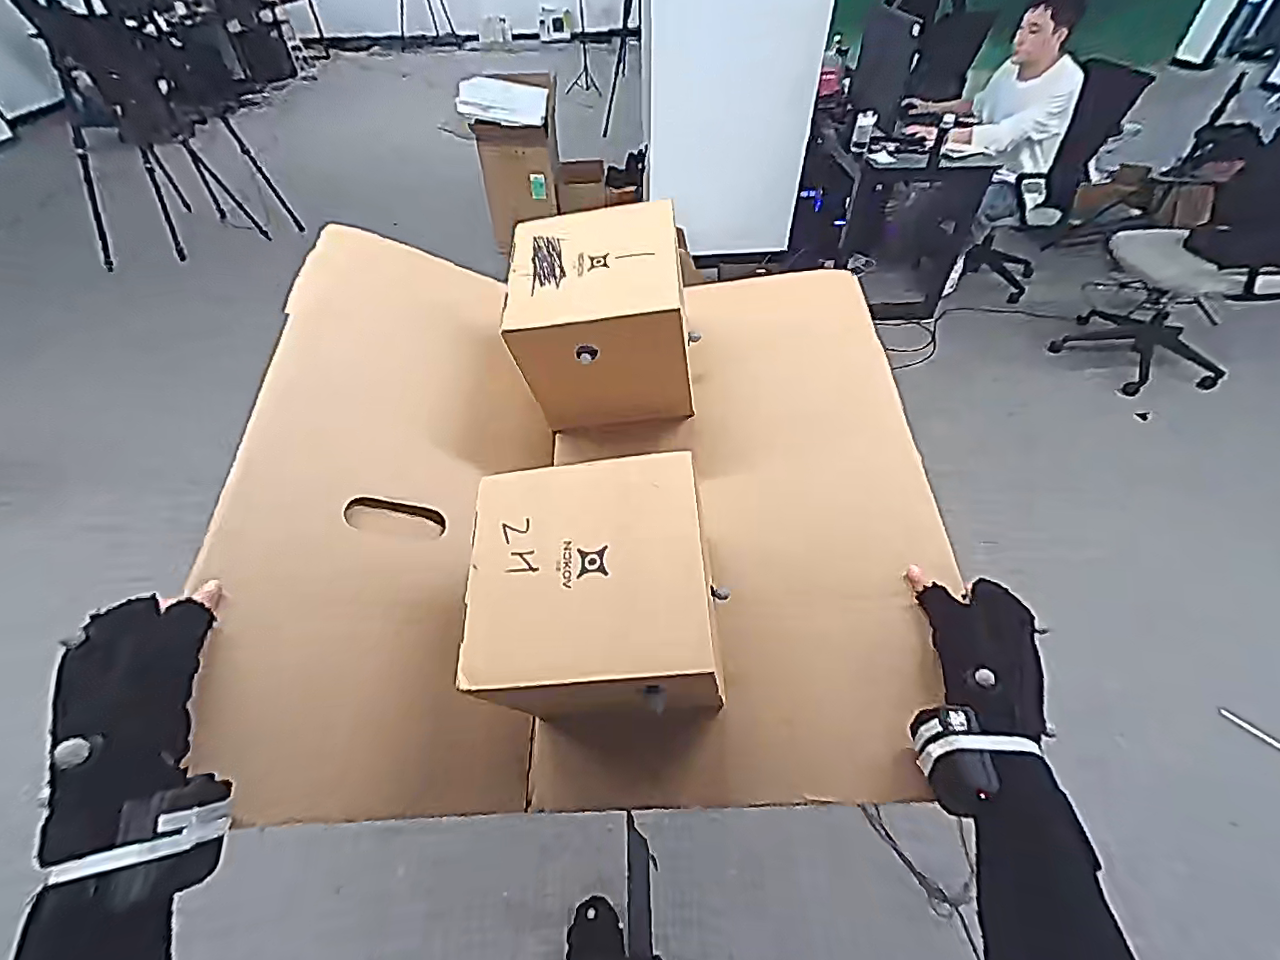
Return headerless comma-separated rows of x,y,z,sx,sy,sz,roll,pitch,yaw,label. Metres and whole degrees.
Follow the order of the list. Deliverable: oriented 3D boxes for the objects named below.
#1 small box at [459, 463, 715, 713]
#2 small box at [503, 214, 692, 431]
-0.028,0.104,0.469,0.179,0.176,0.168,-7,60,8,small box
-0.037,-0.171,0.626,0.179,0.176,0.168,-5,60,7,small box
